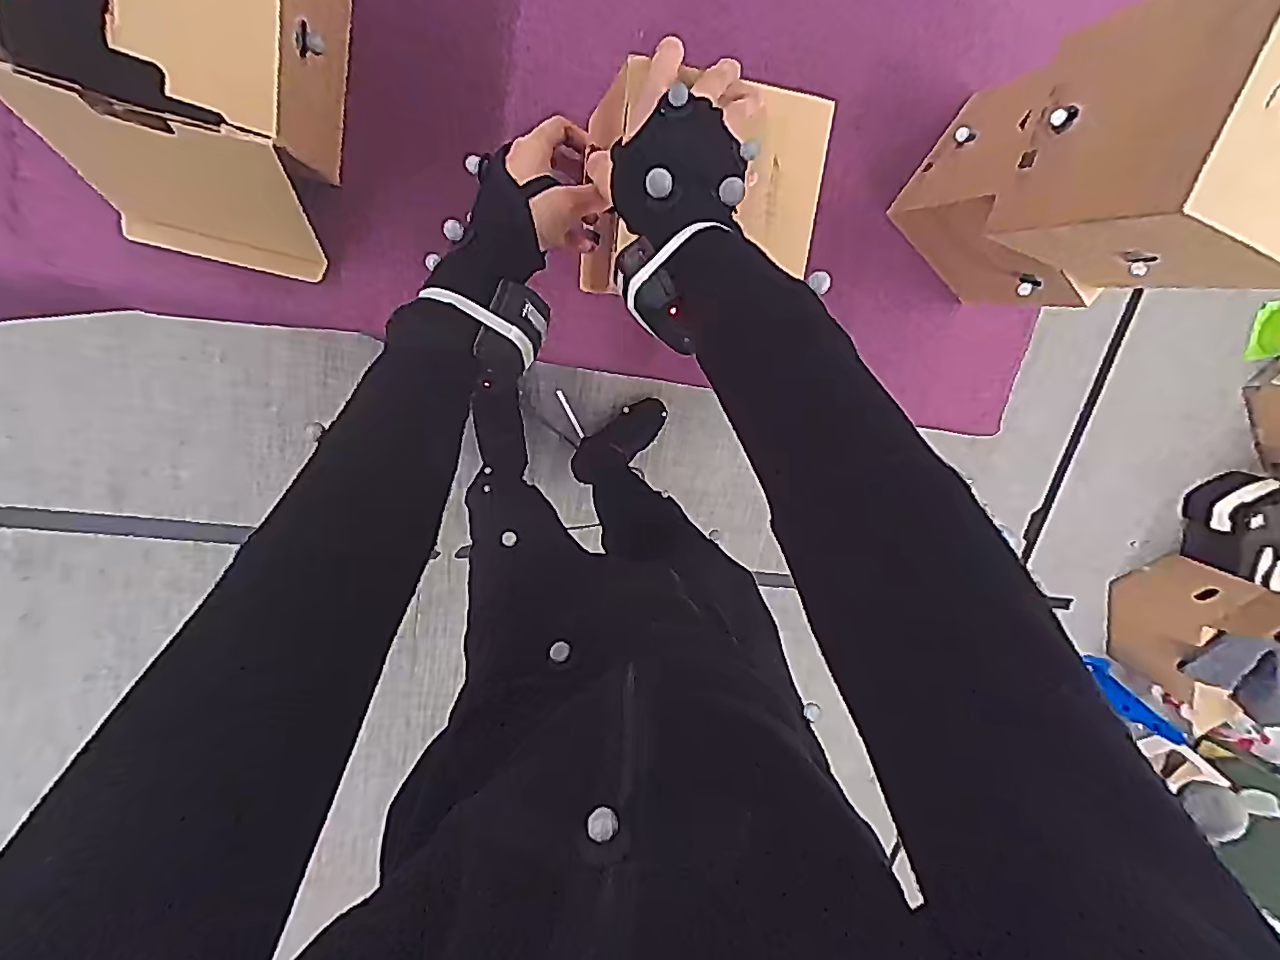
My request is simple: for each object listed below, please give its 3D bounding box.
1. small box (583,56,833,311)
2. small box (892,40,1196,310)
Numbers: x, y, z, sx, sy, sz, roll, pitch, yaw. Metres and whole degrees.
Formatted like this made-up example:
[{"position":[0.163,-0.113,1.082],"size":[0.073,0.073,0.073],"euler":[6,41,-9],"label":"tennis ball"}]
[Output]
[{"position":[0.046,-0.257,0.513],"size":[0.179,0.176,0.168],"euler":[1,109,-16],"label":"small box"},{"position":[0.426,-0.312,0.593],"size":[0.179,0.176,0.168],"euler":[33,98,-23],"label":"small box"}]
